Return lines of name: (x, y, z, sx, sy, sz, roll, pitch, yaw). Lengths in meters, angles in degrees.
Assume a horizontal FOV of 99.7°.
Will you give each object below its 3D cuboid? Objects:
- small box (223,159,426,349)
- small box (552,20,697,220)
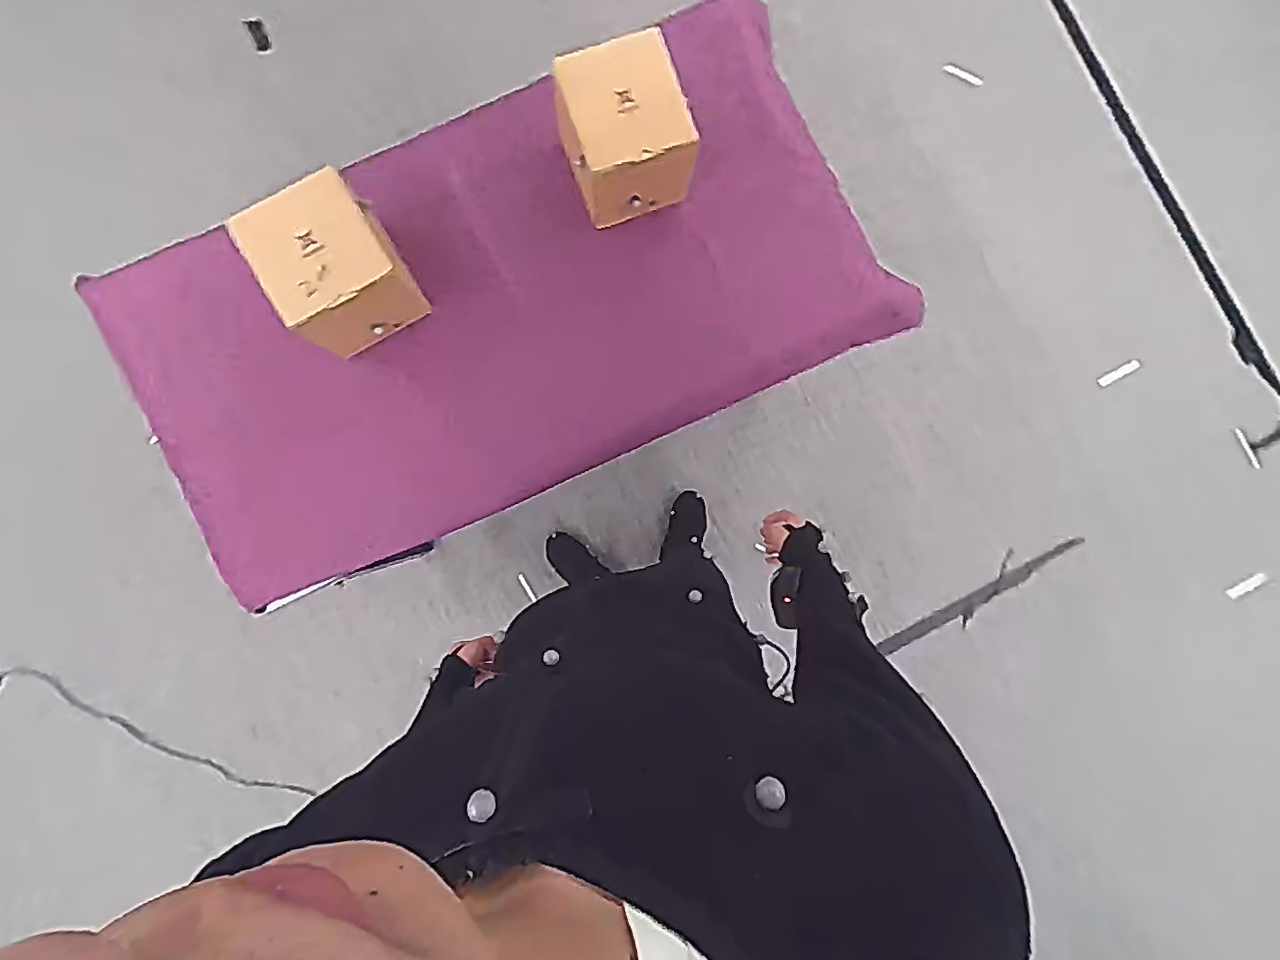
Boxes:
small box: (-0.459, -0.326, 0.816, 0.168, 0.176, 0.179, -31, 91, -4)
small box: (-0.027, -0.551, 0.850, 0.168, 0.176, 0.179, -21, 91, -3)
